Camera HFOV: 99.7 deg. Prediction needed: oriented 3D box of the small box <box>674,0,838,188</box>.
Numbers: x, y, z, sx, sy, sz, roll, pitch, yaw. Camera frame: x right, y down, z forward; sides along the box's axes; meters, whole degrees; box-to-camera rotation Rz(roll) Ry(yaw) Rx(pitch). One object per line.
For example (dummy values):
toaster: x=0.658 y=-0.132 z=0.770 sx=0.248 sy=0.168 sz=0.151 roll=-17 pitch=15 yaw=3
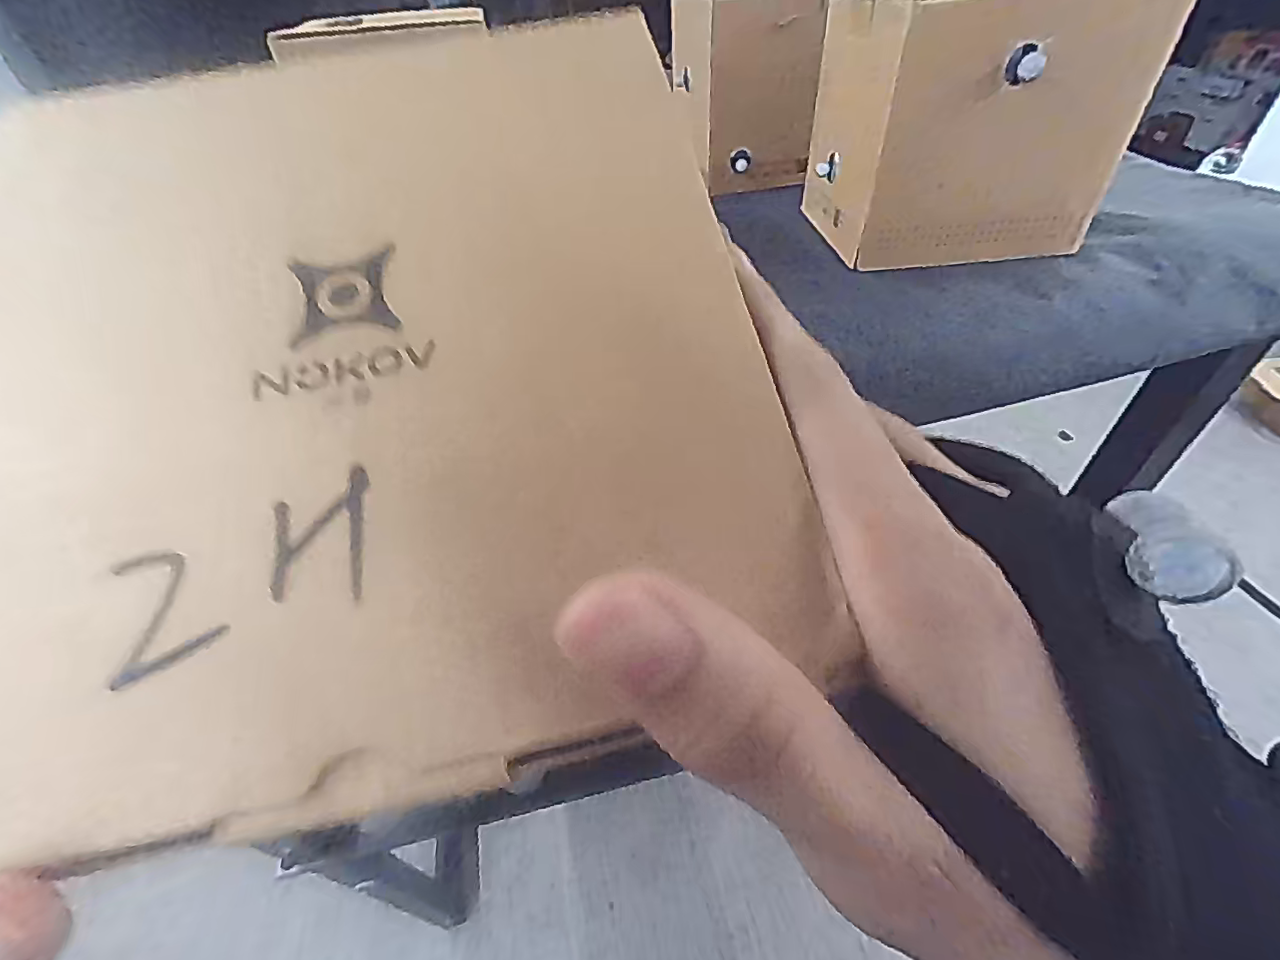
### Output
small box: x=0.138 y=-0.438 z=0.601 sx=0.168 sy=0.176 sz=0.179 roll=-10 pitch=43 yaw=-4

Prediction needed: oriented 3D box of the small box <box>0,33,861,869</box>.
small box: x=-0.058 y=-0.001 z=0.190 sx=0.168 sy=0.176 sz=0.179 roll=-12 pitch=69 yaw=-3

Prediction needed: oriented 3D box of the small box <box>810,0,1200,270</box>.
small box: x=0.250 y=-0.283 z=0.427 sx=0.179 sy=0.176 sz=0.168 roll=-5 pitch=42 yaw=2
